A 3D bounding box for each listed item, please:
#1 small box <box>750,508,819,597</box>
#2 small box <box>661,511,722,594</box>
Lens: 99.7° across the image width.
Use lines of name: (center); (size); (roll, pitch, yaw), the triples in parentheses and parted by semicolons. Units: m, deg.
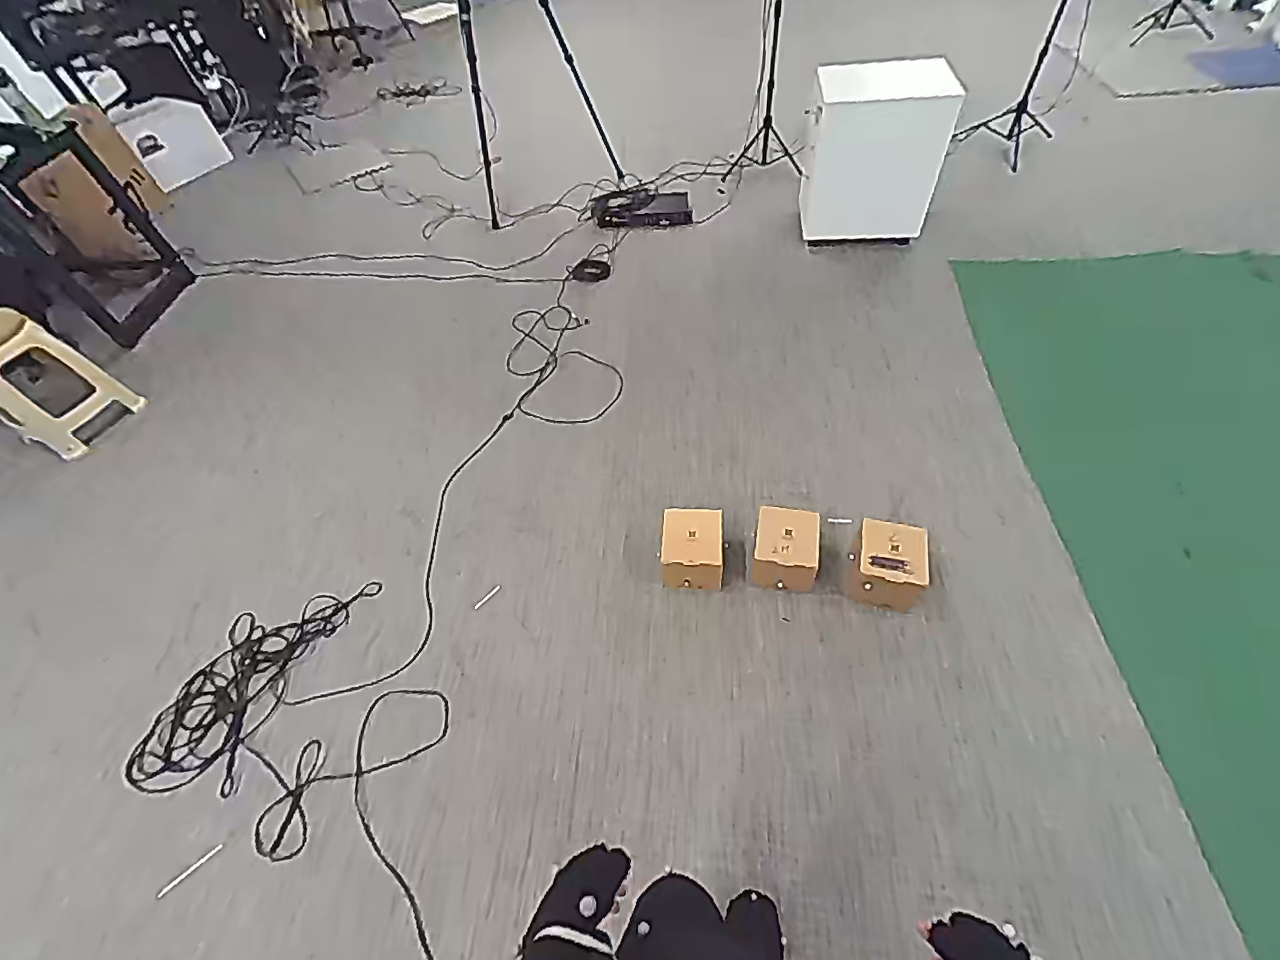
small box: (0.406, 0.205, 1.528); (0.168, 0.176, 0.179); (7, 55, 12)
small box: (0.151, 0.209, 1.556); (0.168, 0.176, 0.179); (1, 54, 7)
